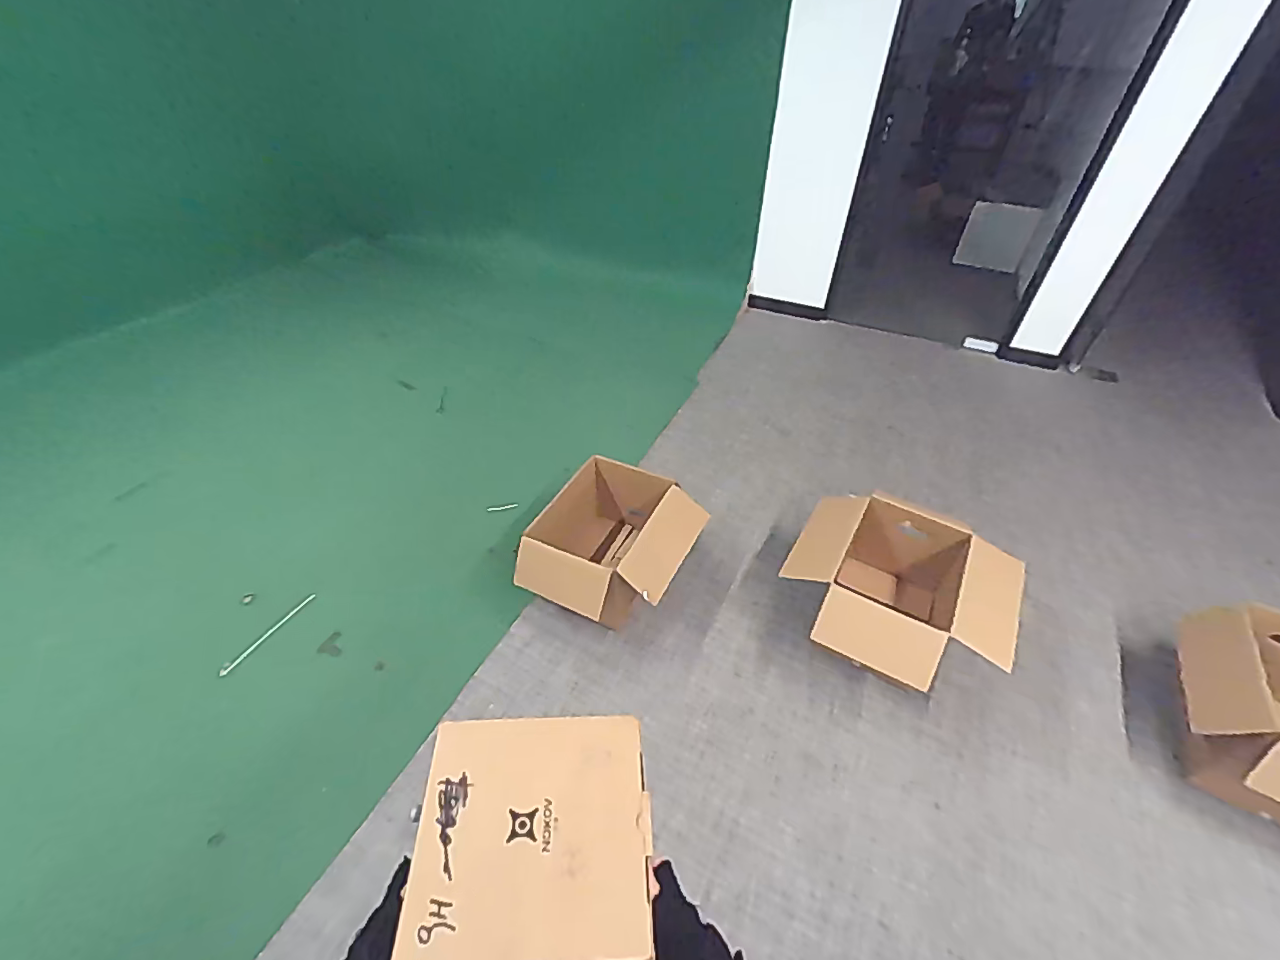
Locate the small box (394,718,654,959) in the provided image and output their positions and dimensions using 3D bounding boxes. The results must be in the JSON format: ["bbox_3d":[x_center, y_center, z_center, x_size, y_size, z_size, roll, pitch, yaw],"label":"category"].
[{"bbox_3d":[-0.088,0.327,0.475,0.179,0.176,0.168,3,43,-5],"label":"small box"}]
